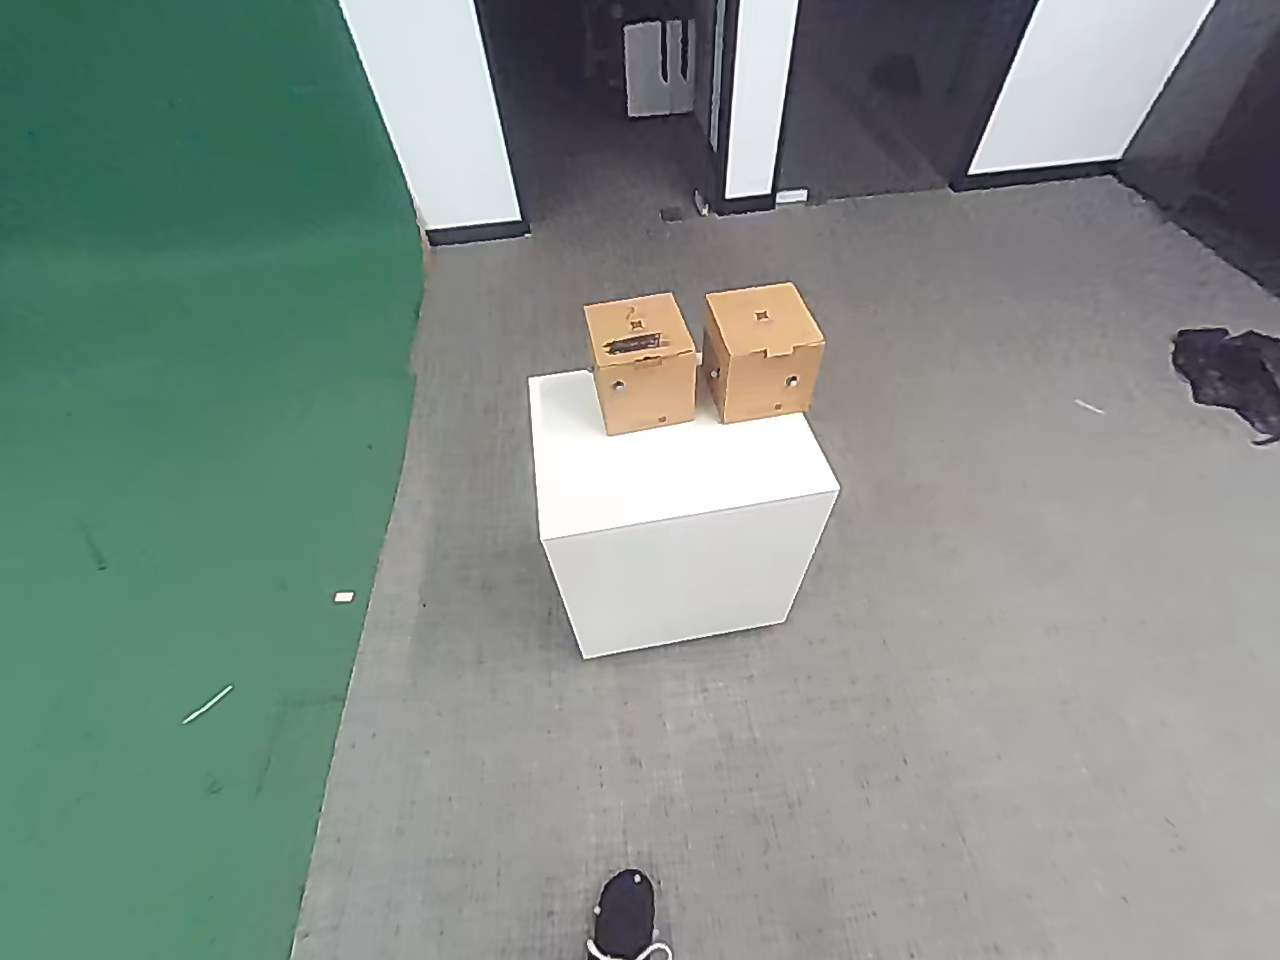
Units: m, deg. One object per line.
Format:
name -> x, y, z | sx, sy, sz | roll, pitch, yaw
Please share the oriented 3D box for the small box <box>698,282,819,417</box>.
small box -> 0.206, -0.232, 0.992 | 0.168, 0.176, 0.179 | -10, 52, -5
